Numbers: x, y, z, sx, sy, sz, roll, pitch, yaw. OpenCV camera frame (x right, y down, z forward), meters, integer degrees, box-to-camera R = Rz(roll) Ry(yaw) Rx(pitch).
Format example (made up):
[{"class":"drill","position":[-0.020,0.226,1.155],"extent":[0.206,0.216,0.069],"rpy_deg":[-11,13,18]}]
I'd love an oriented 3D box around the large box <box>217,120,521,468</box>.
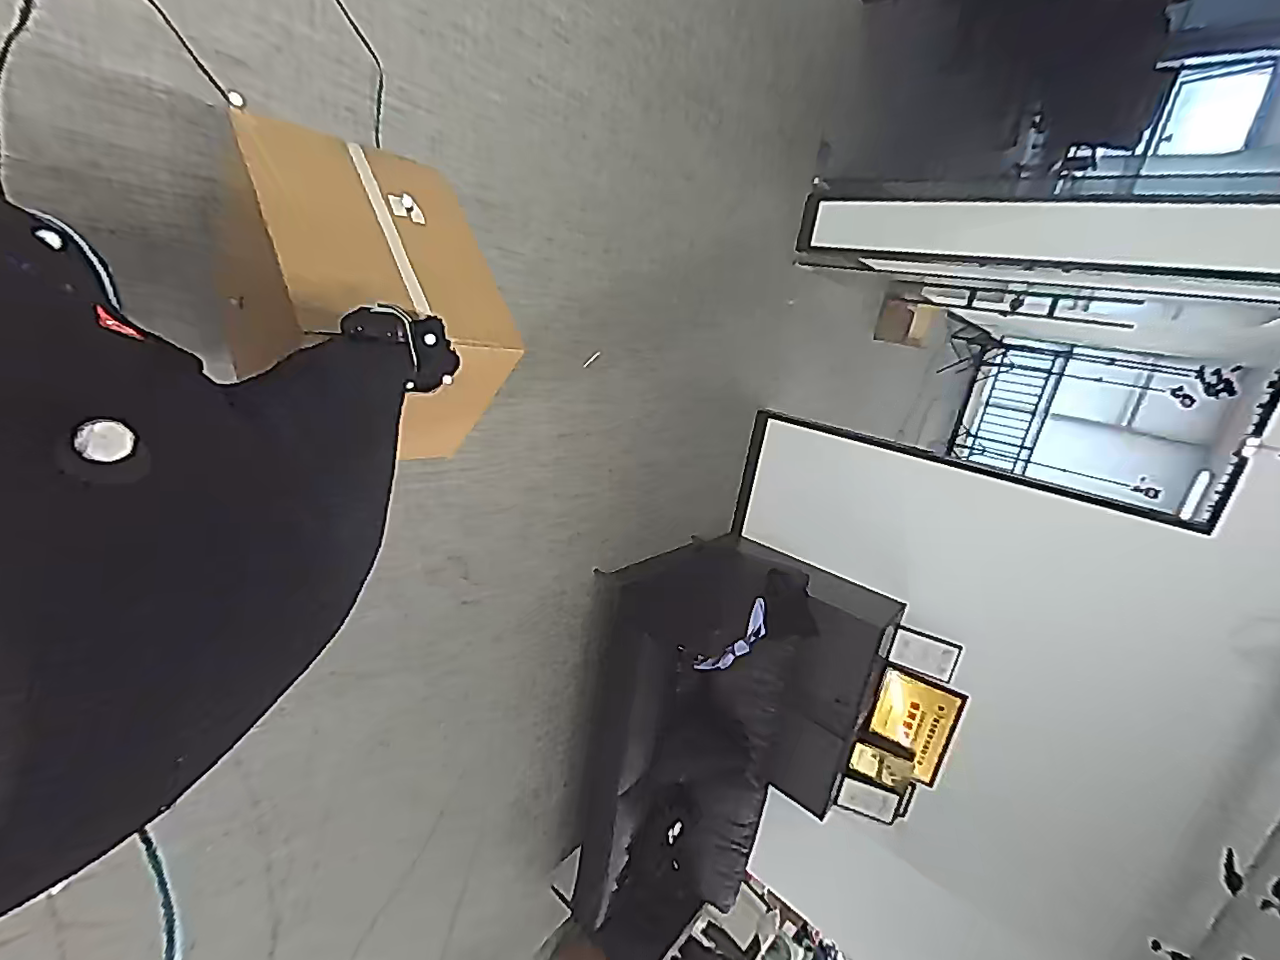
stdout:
[{"class":"large box","position":[-0.463,-0.277,0.899],"extent":[0.320,0.408,0.320],"rpy_deg":[-9,155,-47]}]
